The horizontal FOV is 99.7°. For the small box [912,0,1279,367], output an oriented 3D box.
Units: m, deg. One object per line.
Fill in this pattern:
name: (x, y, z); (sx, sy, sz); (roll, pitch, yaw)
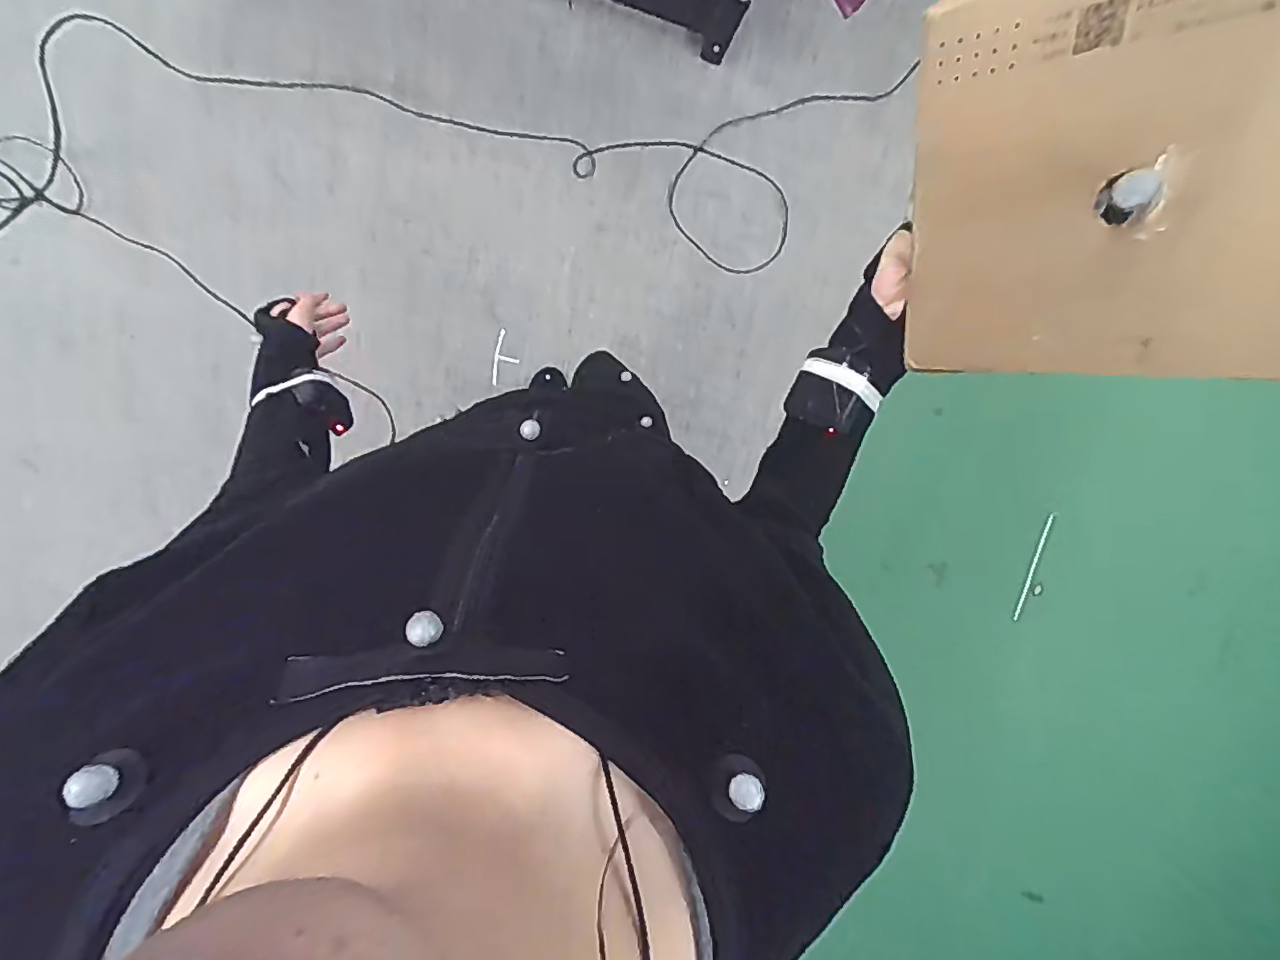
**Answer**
small box: (0.245, -0.174, 0.274); (0.179, 0.168, 0.176); (-50, 137, -37)
